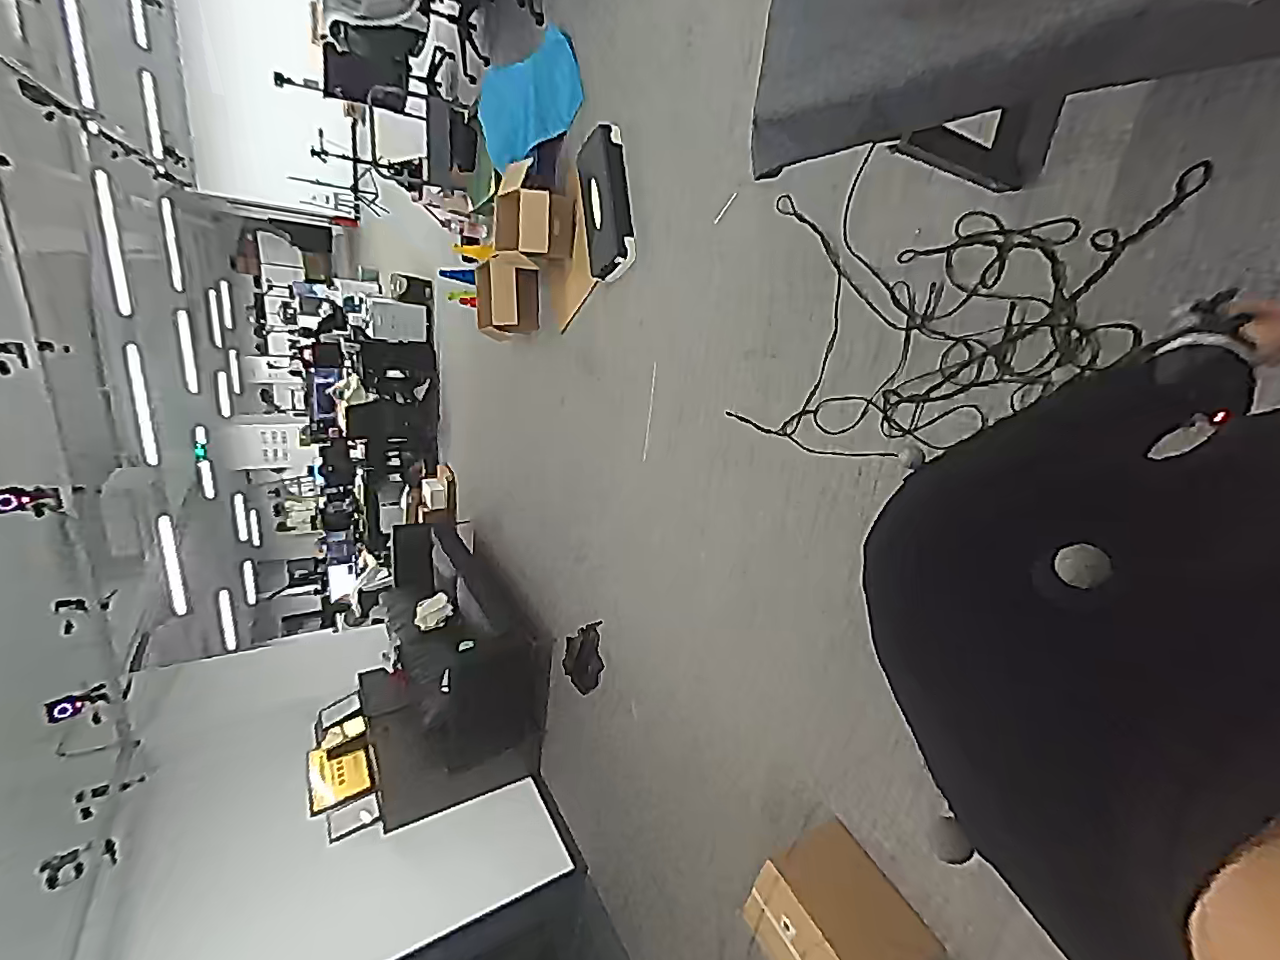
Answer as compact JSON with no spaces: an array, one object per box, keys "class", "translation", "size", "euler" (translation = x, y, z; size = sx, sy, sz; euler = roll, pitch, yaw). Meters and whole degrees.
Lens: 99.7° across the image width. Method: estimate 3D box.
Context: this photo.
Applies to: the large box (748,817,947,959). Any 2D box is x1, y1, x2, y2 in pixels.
[{"class":"large box","translation":[0.598,1.328,1.606],"size":[0.408,0.320,0.320],"euler":[44,130,49]}]
